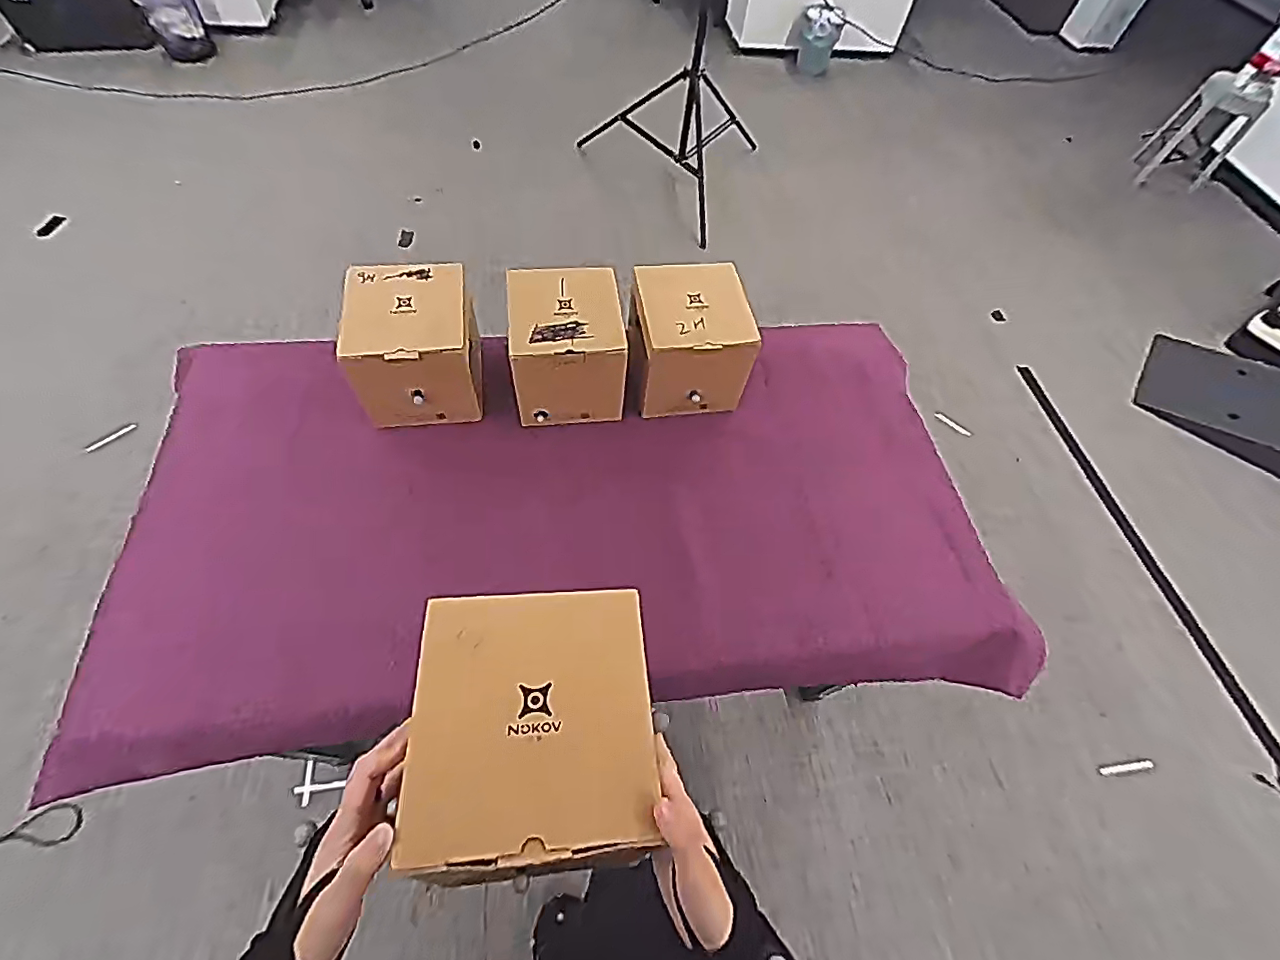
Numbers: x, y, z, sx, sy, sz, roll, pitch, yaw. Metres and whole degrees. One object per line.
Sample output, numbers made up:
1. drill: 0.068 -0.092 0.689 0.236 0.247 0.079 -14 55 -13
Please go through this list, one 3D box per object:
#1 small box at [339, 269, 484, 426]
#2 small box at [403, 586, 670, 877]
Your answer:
1. small box: -0.338 -0.195 0.832 0.168 0.176 0.179 -5 62 -9
2. small box: -0.078 0.207 0.445 0.168 0.176 0.179 -2 52 -8
